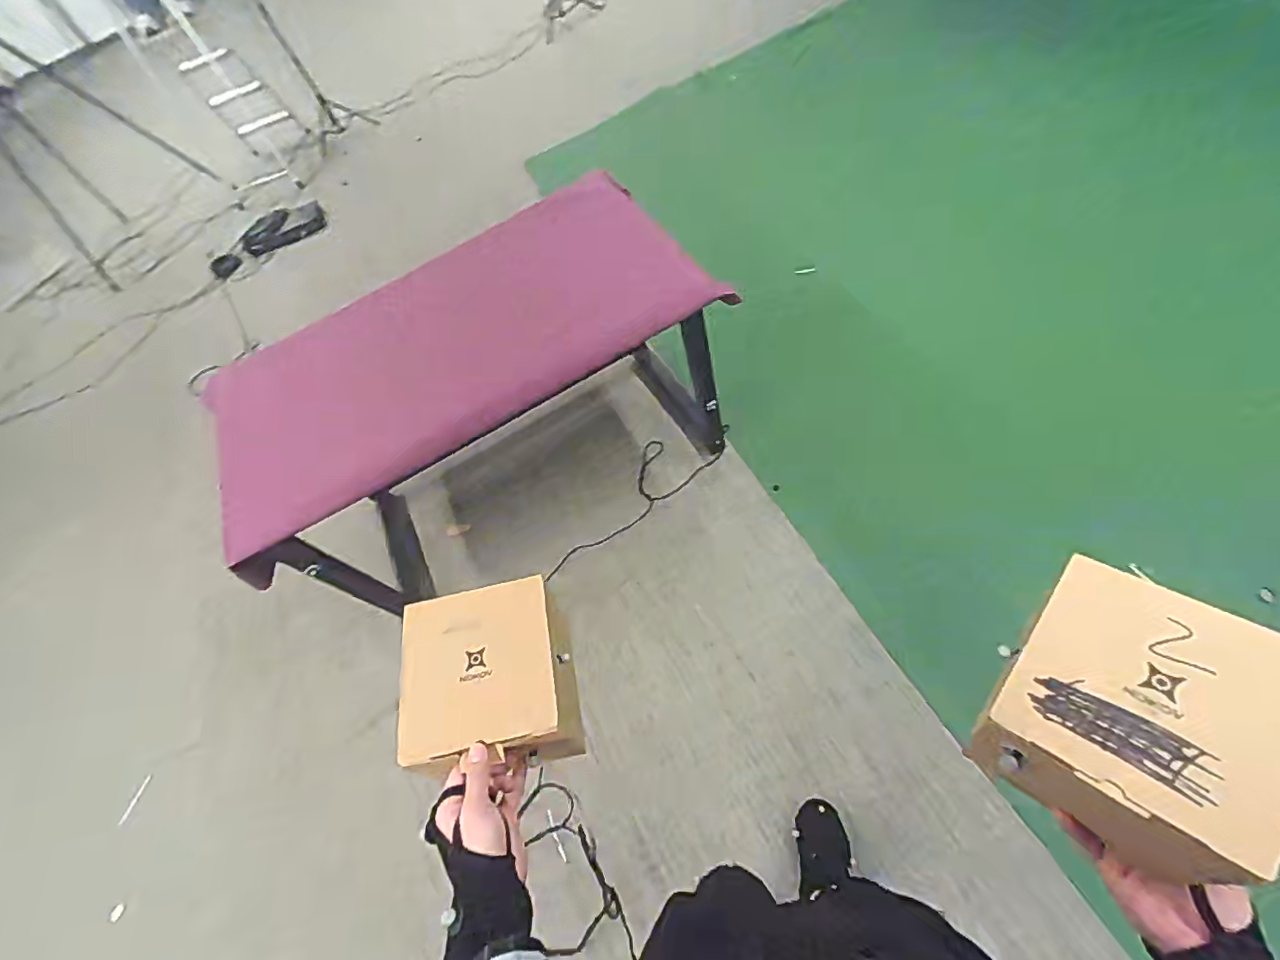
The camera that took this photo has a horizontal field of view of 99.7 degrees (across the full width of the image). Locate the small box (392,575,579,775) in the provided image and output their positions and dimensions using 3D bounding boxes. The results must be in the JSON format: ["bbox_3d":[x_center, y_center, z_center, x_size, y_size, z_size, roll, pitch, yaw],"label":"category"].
[{"bbox_3d":[-0.175,0.241,0.649,0.168,0.176,0.179,-12,55,-3],"label":"small box"}]
